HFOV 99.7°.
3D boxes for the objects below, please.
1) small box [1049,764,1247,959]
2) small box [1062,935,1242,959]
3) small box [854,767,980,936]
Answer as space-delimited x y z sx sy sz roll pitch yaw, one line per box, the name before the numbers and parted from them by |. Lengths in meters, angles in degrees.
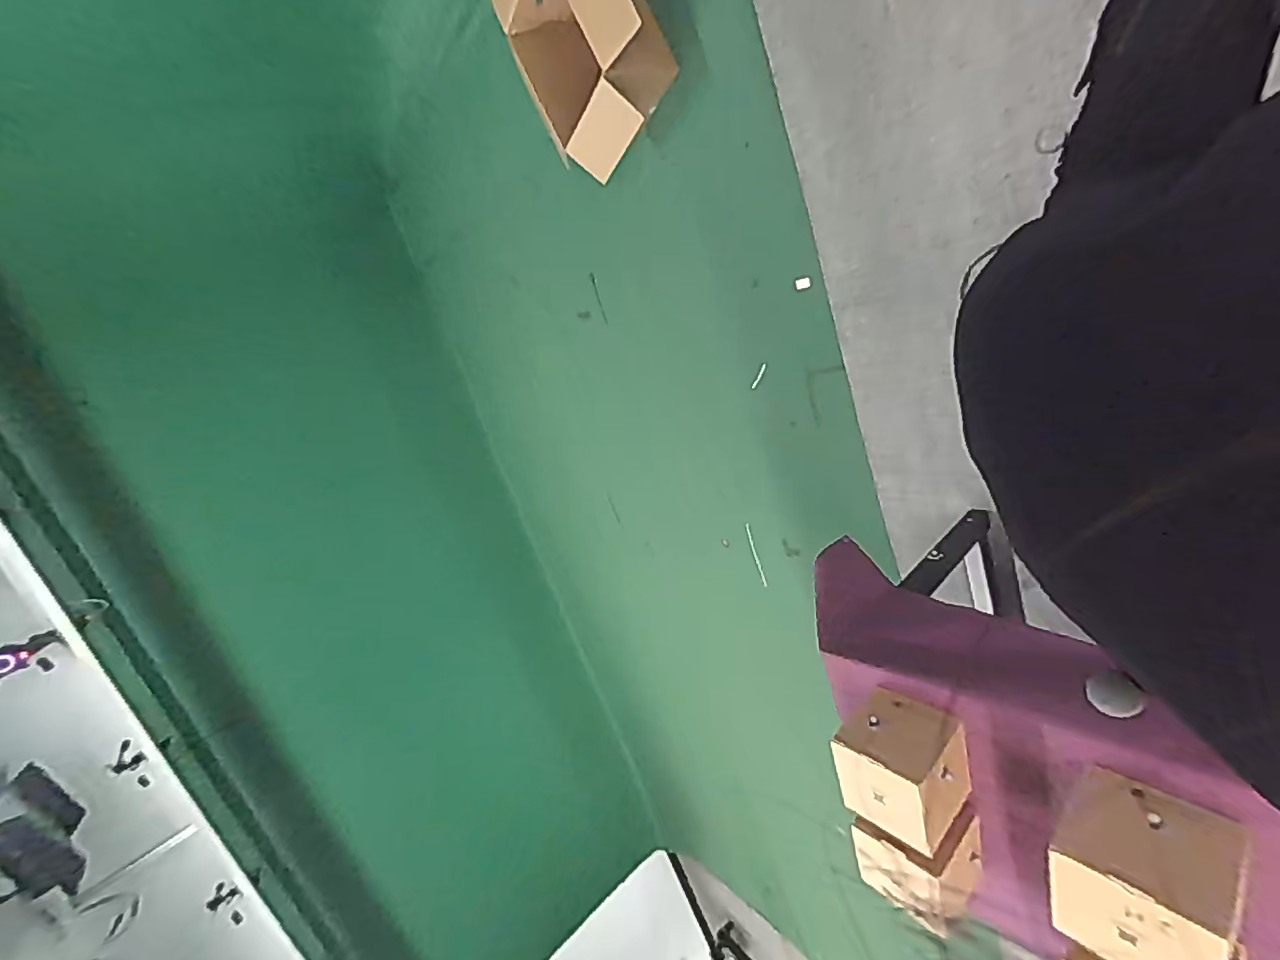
small box | 0.680 0.536 0.729 0.168 0.176 0.179 9 122 52
small box | 0.754 0.743 0.793 0.168 0.176 0.179 1 115 54
small box | 0.545 0.714 1.061 0.168 0.176 0.179 12 123 51
